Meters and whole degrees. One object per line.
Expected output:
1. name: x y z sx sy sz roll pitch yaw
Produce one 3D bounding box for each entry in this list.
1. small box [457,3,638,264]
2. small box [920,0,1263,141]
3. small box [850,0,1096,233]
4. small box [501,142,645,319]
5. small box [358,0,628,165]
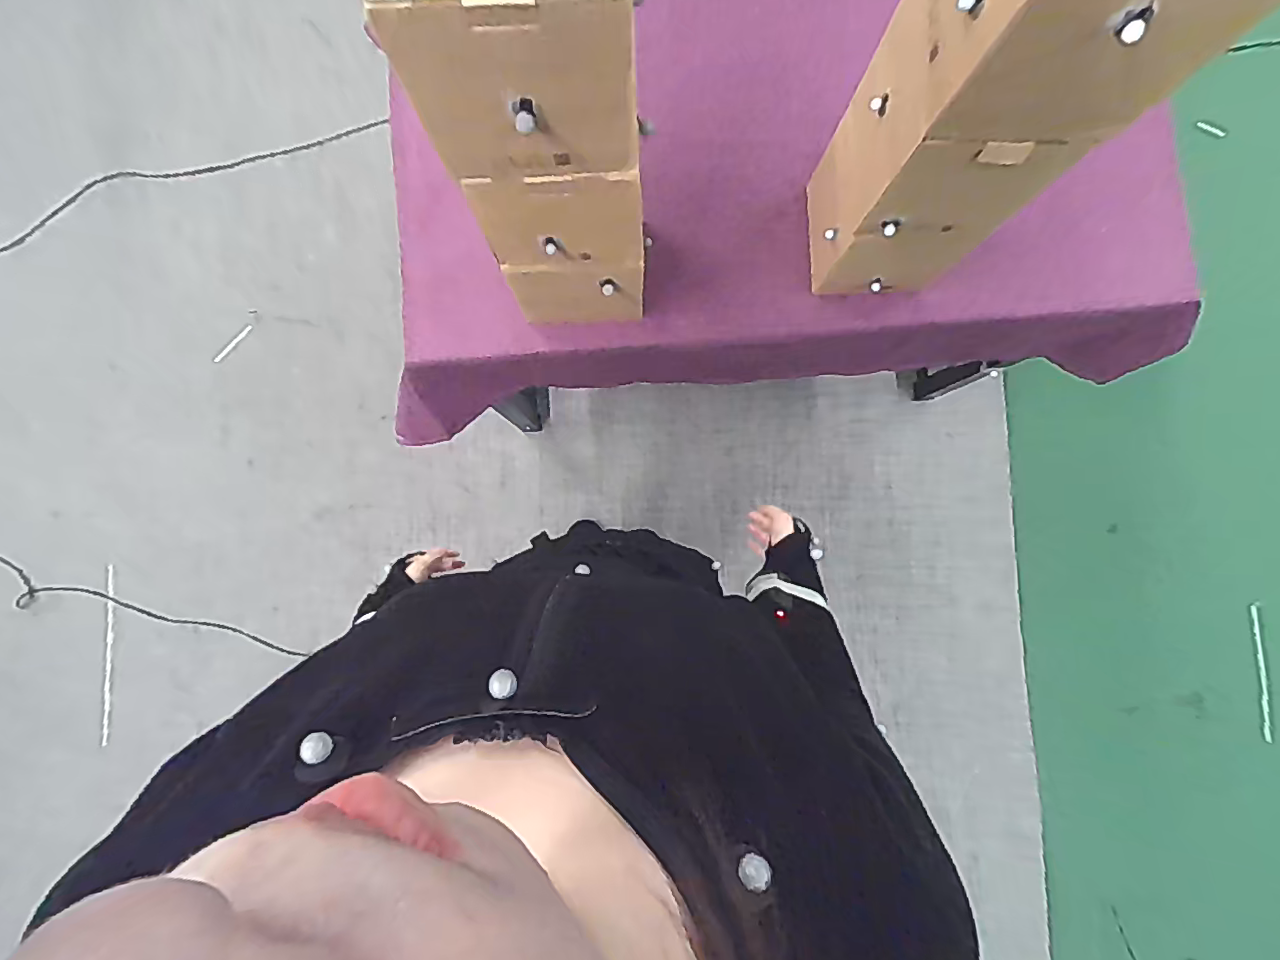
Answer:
1. small box: -0.087 -0.353 0.577 0.168 0.176 0.179 -1 86 0
2. small box: 0.338 -0.393 0.414 0.179 0.176 0.168 2 87 0
3. small box: 0.337 -0.387 0.577 0.168 0.176 0.179 1 85 0
4. small box: -0.084 -0.330 0.739 0.179 0.176 0.168 -2 85 0
5. small box: -0.096 -0.368 0.413 0.168 0.176 0.179 -3 86 -1
